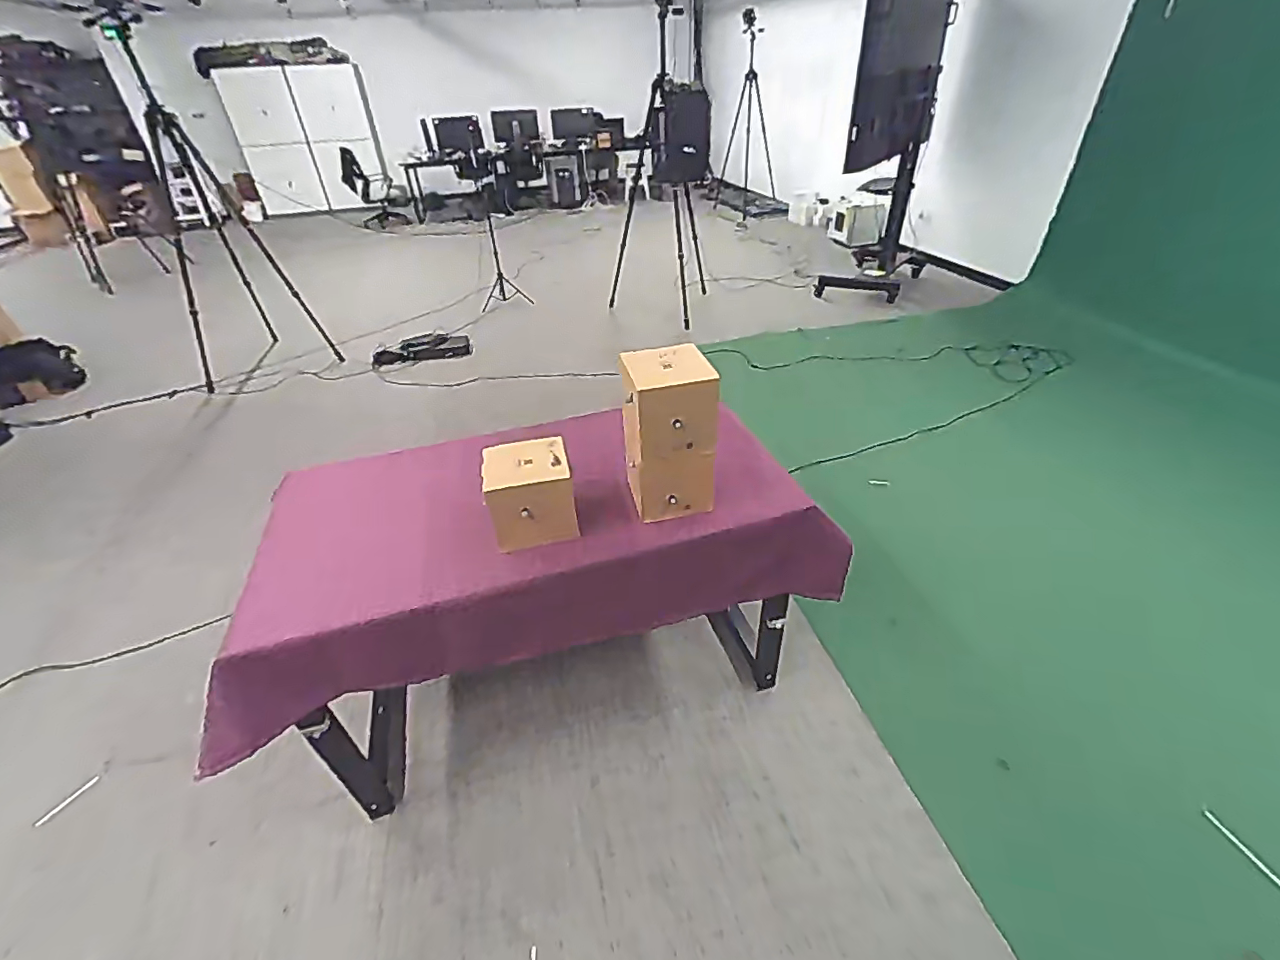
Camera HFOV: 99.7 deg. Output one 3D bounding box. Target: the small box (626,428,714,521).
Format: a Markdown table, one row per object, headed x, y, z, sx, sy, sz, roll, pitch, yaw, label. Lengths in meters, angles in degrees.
| x | y | z | sx | sy | sz | roll | pitch | yaw | label |
| --- | --- | --- | --- | --- | --- | --- | --- | --- | --- |
| 0.064 | -0.030 | 1.240 | 0.168 | 0.176 | 0.179 | -10 | 38 | -8 | small box |

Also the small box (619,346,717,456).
| x | y | z | sx | sy | sz | roll | pitch | yaw | label |
| --- | --- | --- | --- | --- | --- | --- | --- | --- | --- |
| 0.057 | -0.162 | 1.141 | 0.168 | 0.176 | 0.179 | -10 | 37 | -10 | small box |

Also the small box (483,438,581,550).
| x | y | z | sx | sy | sz | roll | pitch | yaw | label |
| --- | --- | --- | --- | --- | --- | --- | --- | --- | --- |
| -0.235 | 0.032 | 1.178 | 0.179 | 0.176 | 0.168 | -11 | 37 | -8 | small box |
